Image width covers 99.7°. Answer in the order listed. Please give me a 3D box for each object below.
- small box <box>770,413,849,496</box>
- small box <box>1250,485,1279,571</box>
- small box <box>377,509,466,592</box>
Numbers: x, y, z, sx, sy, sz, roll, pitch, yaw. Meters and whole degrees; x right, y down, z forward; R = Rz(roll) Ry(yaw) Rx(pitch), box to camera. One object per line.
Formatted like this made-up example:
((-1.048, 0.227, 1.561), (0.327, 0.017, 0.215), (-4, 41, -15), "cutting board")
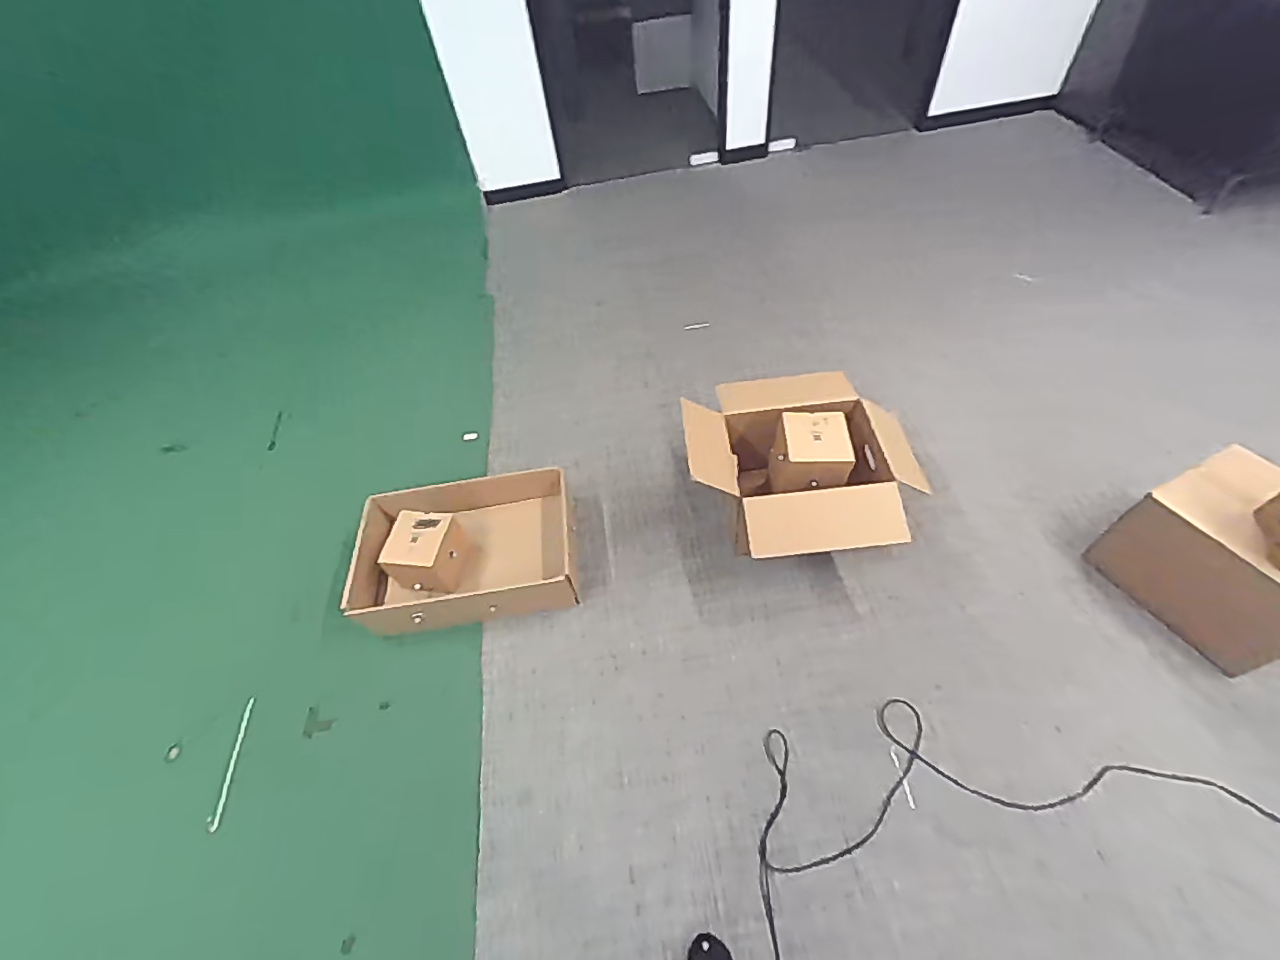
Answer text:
((0.466, -0.067, 1.508), (0.168, 0.176, 0.179), (0, 53, 2), "small box")
((1.447, 0.097, 1.123), (0.179, 0.176, 0.168), (6, 54, 14), "small box")
((-0.629, 0.207, 1.587), (0.168, 0.176, 0.179), (4, 53, 8), "small box")
